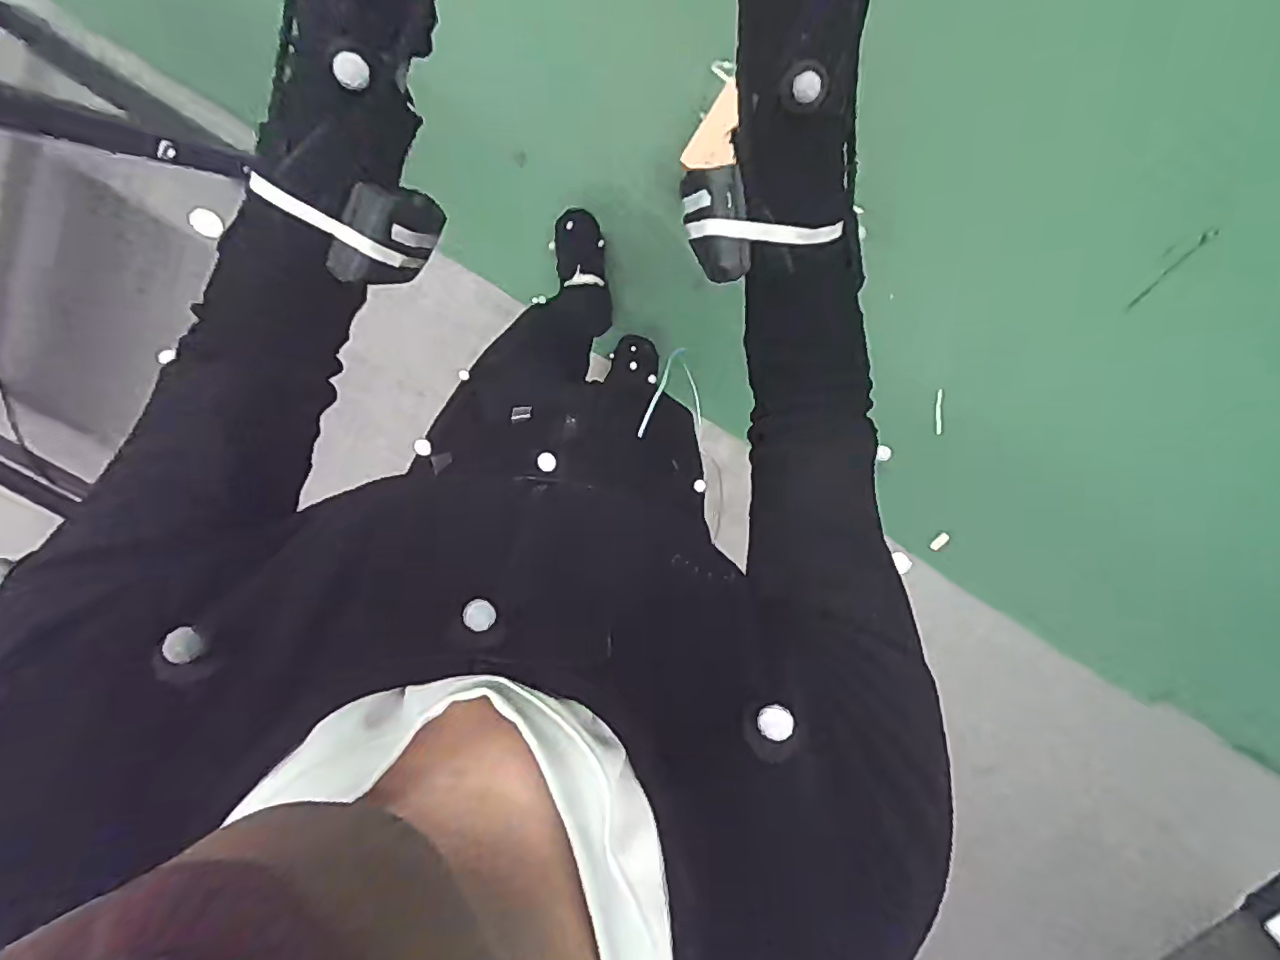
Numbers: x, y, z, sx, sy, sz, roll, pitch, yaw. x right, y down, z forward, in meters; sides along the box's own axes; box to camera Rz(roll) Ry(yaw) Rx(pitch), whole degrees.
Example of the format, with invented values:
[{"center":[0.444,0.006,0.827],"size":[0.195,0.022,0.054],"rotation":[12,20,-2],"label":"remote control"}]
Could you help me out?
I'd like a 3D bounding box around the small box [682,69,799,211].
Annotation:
[{"center":[0.197,-0.696,1.134],"size":[0.168,0.176,0.179],"rotation":[34,109,-10],"label":"small box"}]
